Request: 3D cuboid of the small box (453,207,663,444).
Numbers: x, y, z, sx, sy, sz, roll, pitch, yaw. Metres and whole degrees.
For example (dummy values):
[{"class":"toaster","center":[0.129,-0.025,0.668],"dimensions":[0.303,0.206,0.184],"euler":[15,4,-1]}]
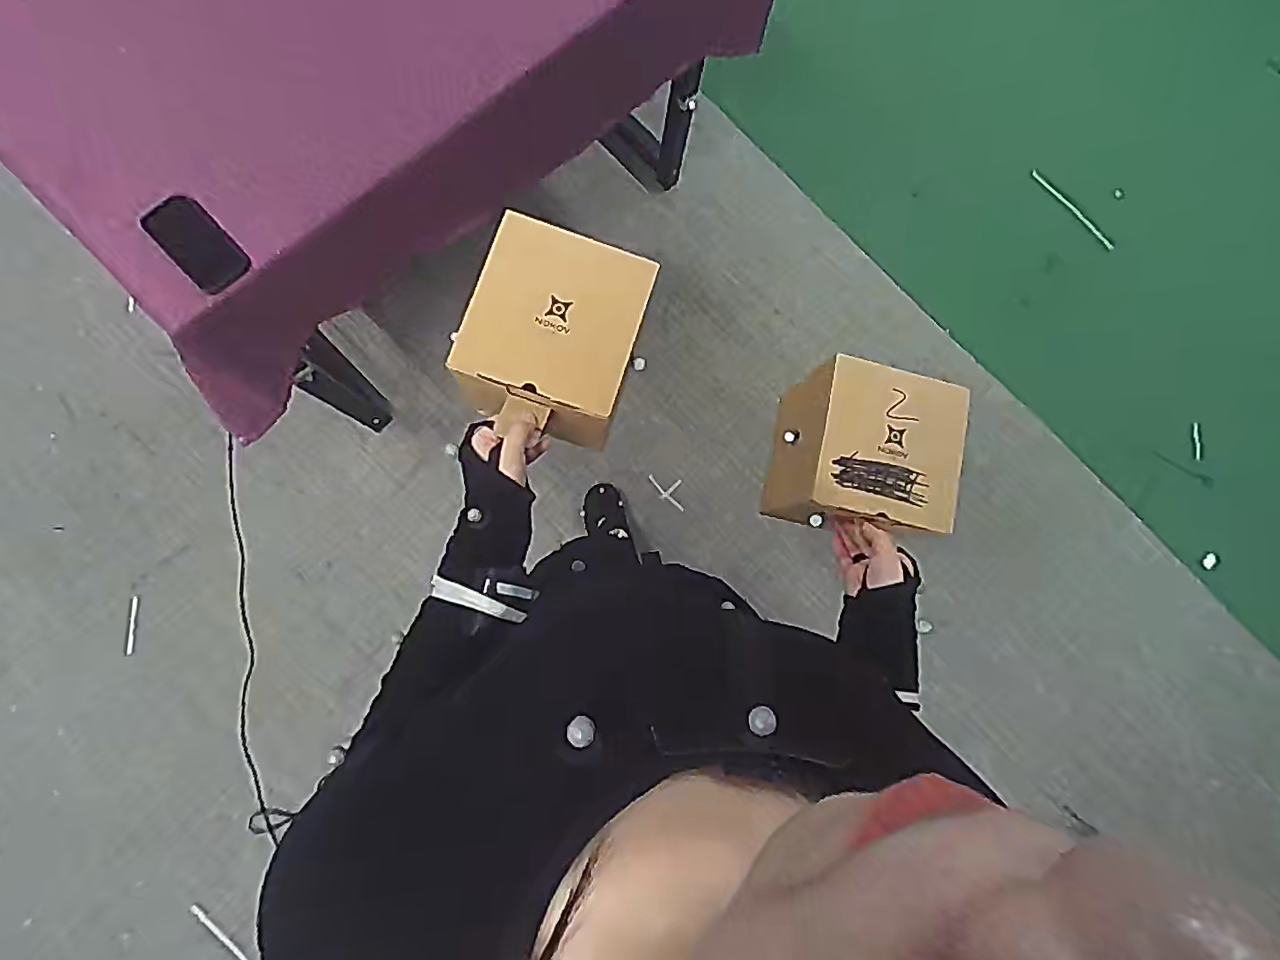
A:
[{"class":"small box","center":[-0.088,-0.158,0.611],"dimensions":[0.168,0.176,0.179],"euler":[18,82,-4]}]
